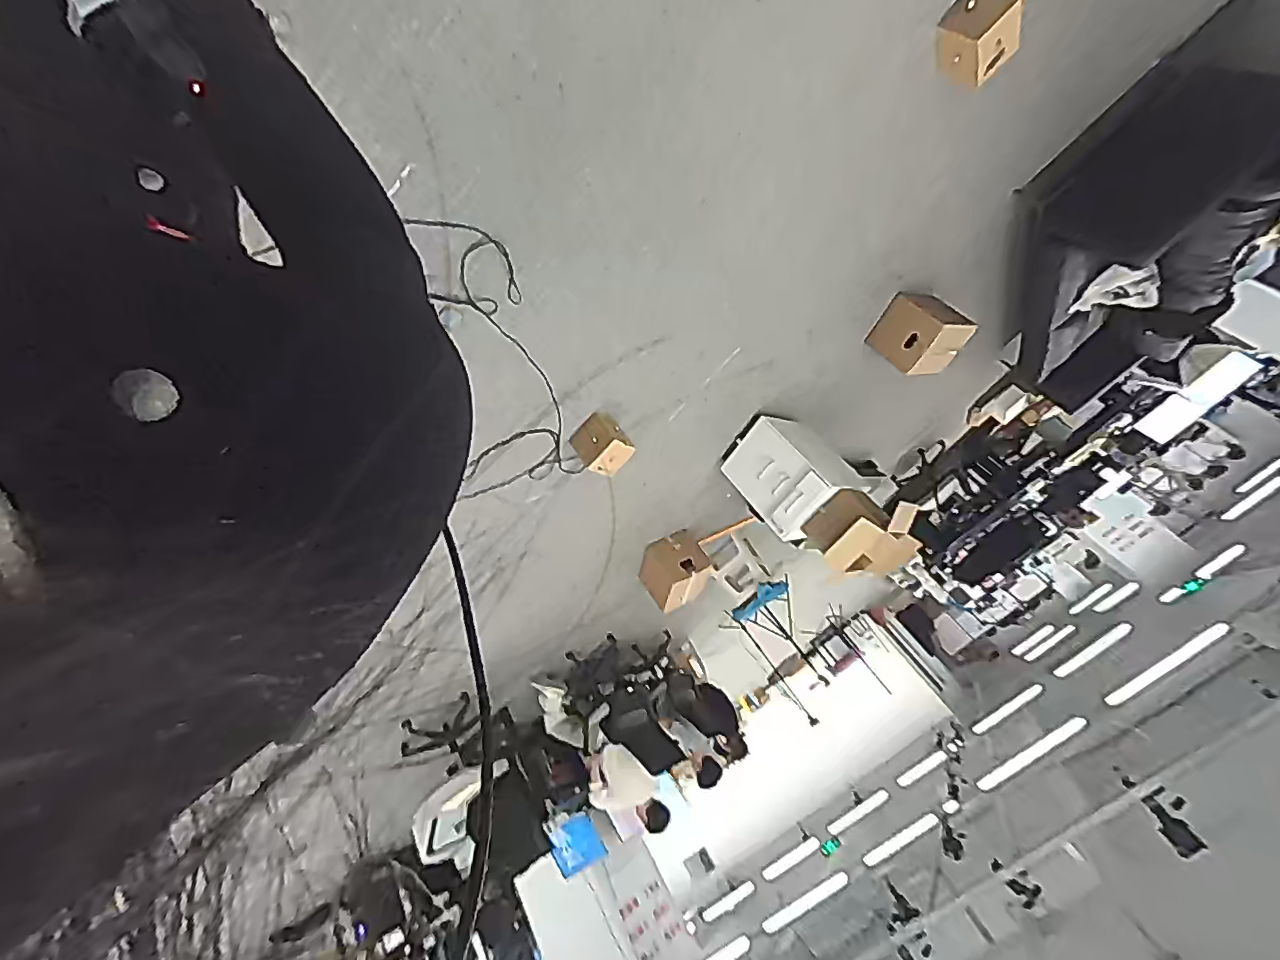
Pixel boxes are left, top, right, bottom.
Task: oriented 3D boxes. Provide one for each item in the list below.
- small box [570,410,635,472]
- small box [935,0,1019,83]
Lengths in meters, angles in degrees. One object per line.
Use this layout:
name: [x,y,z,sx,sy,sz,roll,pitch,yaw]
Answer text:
small box: [-0.162,-0.164,2.269,0.179,0.176,0.168,-46,149,15]
small box: [1.093,-1.466,1.769,0.168,0.176,0.179,-44,149,12]
